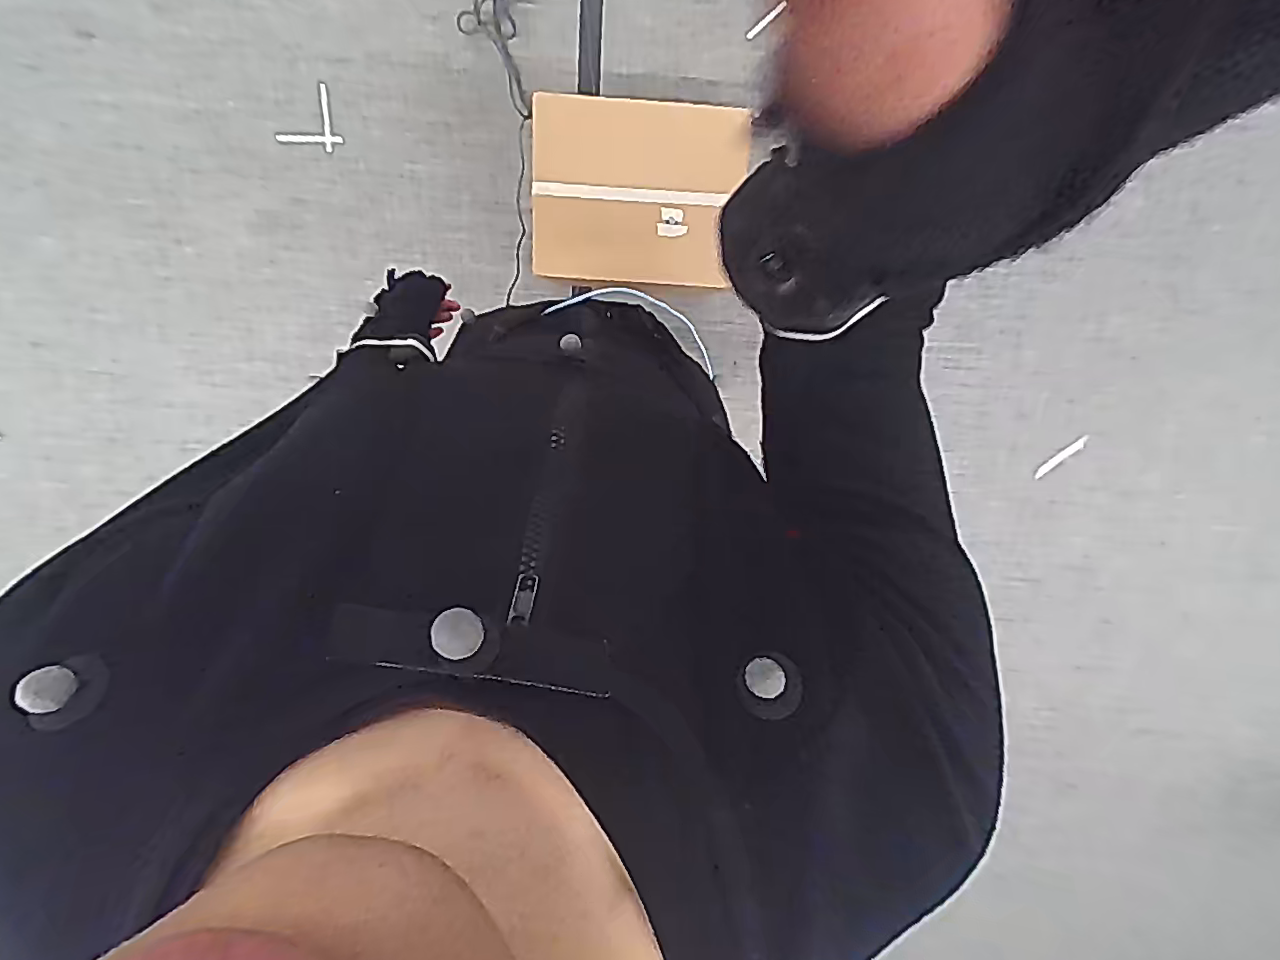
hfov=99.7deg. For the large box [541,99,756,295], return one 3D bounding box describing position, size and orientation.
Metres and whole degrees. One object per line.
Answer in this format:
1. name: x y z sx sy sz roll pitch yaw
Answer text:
1. large box: 0.004 -0.582 1.179 0.408 0.320 0.320 3 107 -3
